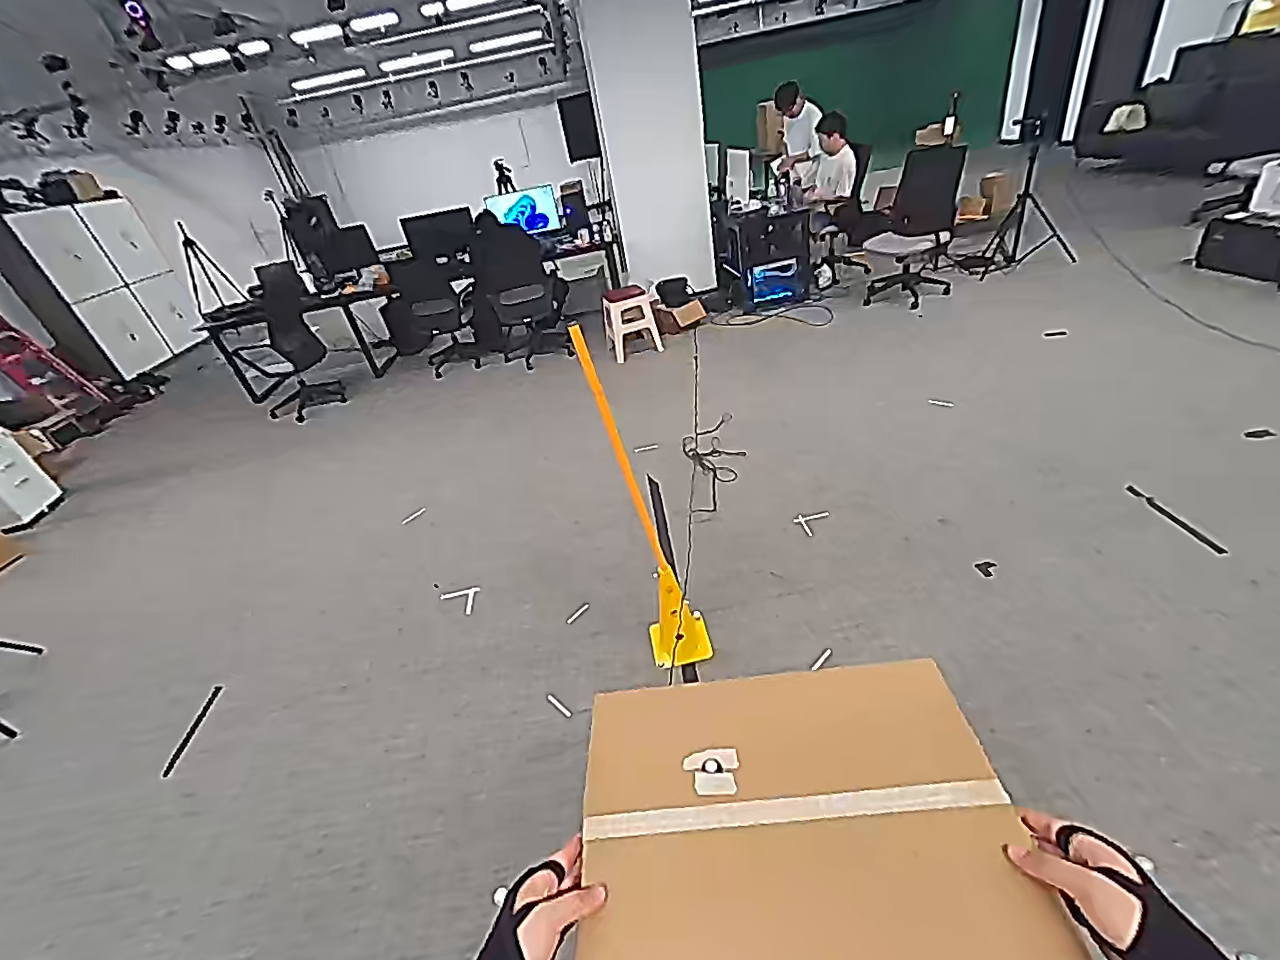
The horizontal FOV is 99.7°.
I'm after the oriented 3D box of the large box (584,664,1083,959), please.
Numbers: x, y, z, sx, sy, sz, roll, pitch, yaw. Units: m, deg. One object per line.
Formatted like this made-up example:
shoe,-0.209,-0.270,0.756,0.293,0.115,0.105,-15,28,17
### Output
large box,0.173,0.455,0.613,0.408,0.320,0.320,-9,32,6
